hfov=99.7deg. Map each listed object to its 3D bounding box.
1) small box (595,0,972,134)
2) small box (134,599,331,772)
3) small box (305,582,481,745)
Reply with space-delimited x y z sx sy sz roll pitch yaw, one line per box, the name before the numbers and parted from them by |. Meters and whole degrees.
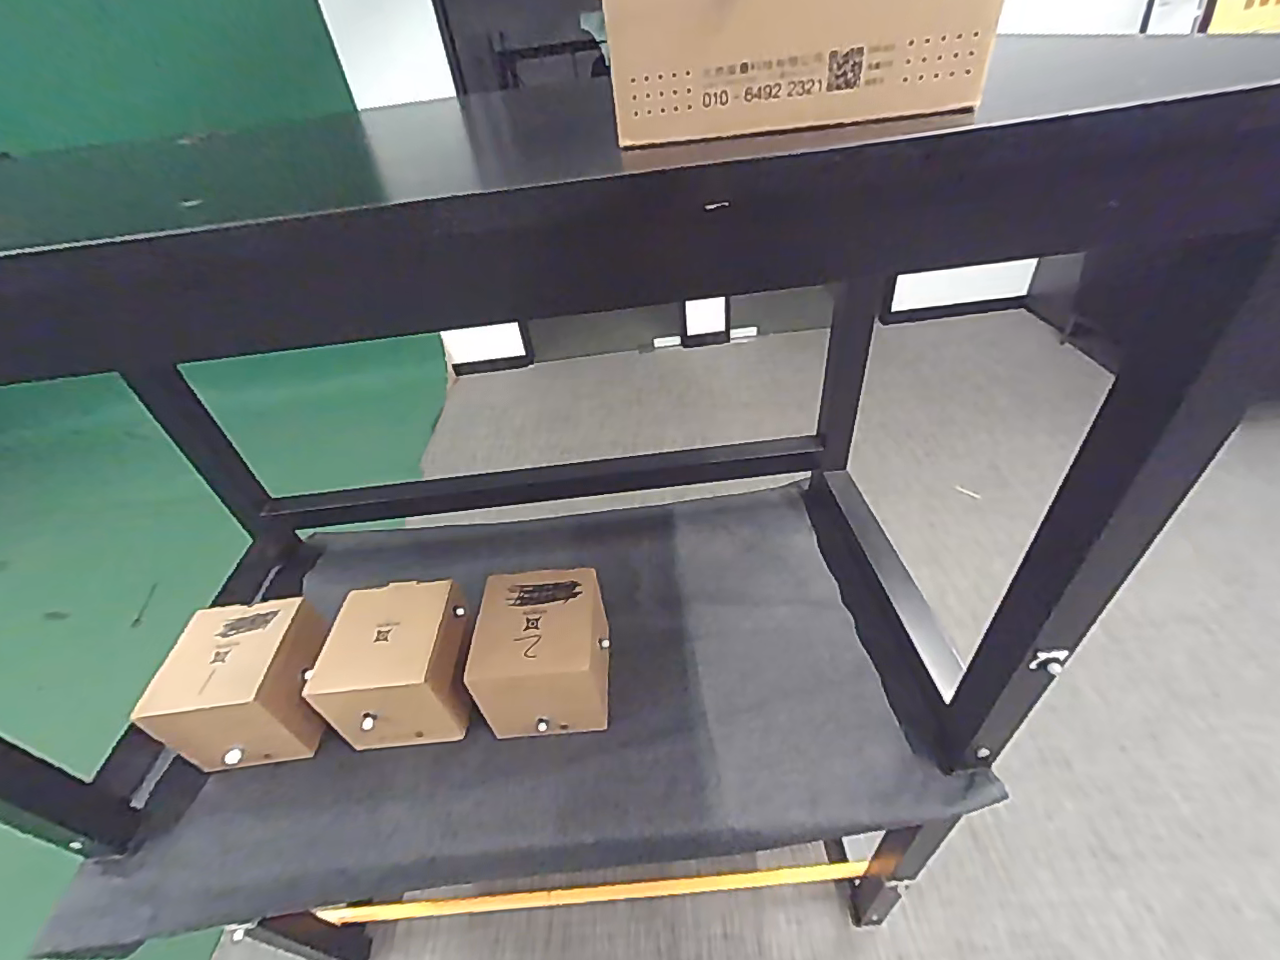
small box | 0.065 -0.285 0.270 0.168 0.176 0.179 -1 39 9
small box | -0.578 0.308 0.817 0.168 0.176 0.179 -8 39 0
small box | -0.353 0.281 0.816 0.168 0.176 0.179 -6 38 2
